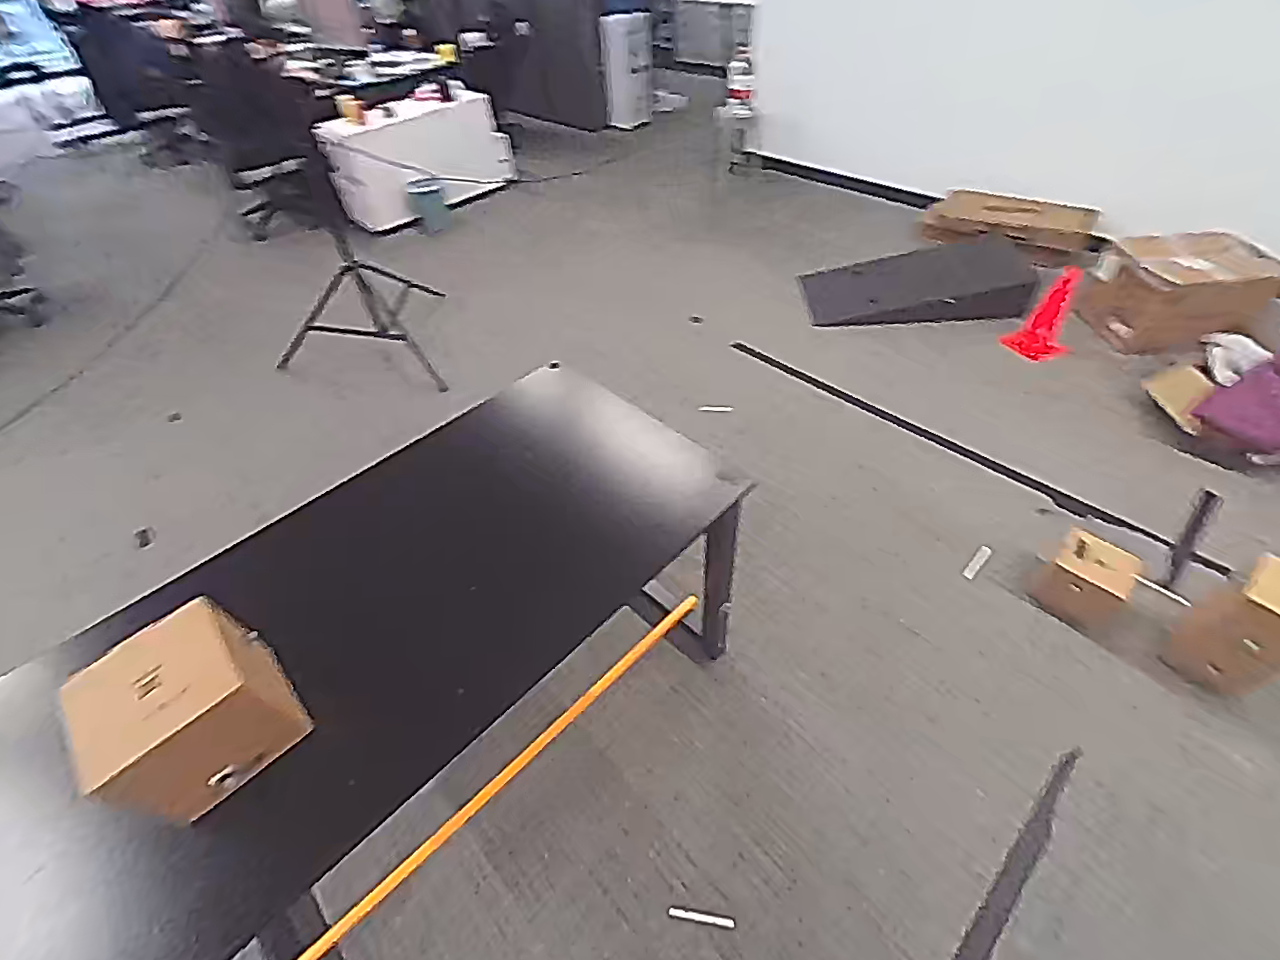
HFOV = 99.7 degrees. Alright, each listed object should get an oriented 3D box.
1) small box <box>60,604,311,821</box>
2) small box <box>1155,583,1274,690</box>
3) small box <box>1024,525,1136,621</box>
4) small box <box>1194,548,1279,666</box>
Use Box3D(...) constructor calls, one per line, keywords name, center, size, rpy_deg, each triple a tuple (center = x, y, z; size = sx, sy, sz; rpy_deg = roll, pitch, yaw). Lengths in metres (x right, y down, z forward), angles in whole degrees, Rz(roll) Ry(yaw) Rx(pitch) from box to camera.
Box3D(name="small box", center=(-0.579, 0.305, 0.707), size=(0.179, 0.176, 0.168), rpy_deg=(34, 60, 29))
Box3D(name="small box", center=(1.502, 0.411, 1.406), size=(0.179, 0.176, 0.168), rpy_deg=(-38, 55, -25))
Box3D(name="small box", center=(1.254, 0.269, 1.553), size=(0.179, 0.176, 0.168), rpy_deg=(34, 59, 30))
Box3D(name="small box", center=(1.483, 0.302, 1.282), size=(0.179, 0.176, 0.168), rpy_deg=(-37, 55, -24))
